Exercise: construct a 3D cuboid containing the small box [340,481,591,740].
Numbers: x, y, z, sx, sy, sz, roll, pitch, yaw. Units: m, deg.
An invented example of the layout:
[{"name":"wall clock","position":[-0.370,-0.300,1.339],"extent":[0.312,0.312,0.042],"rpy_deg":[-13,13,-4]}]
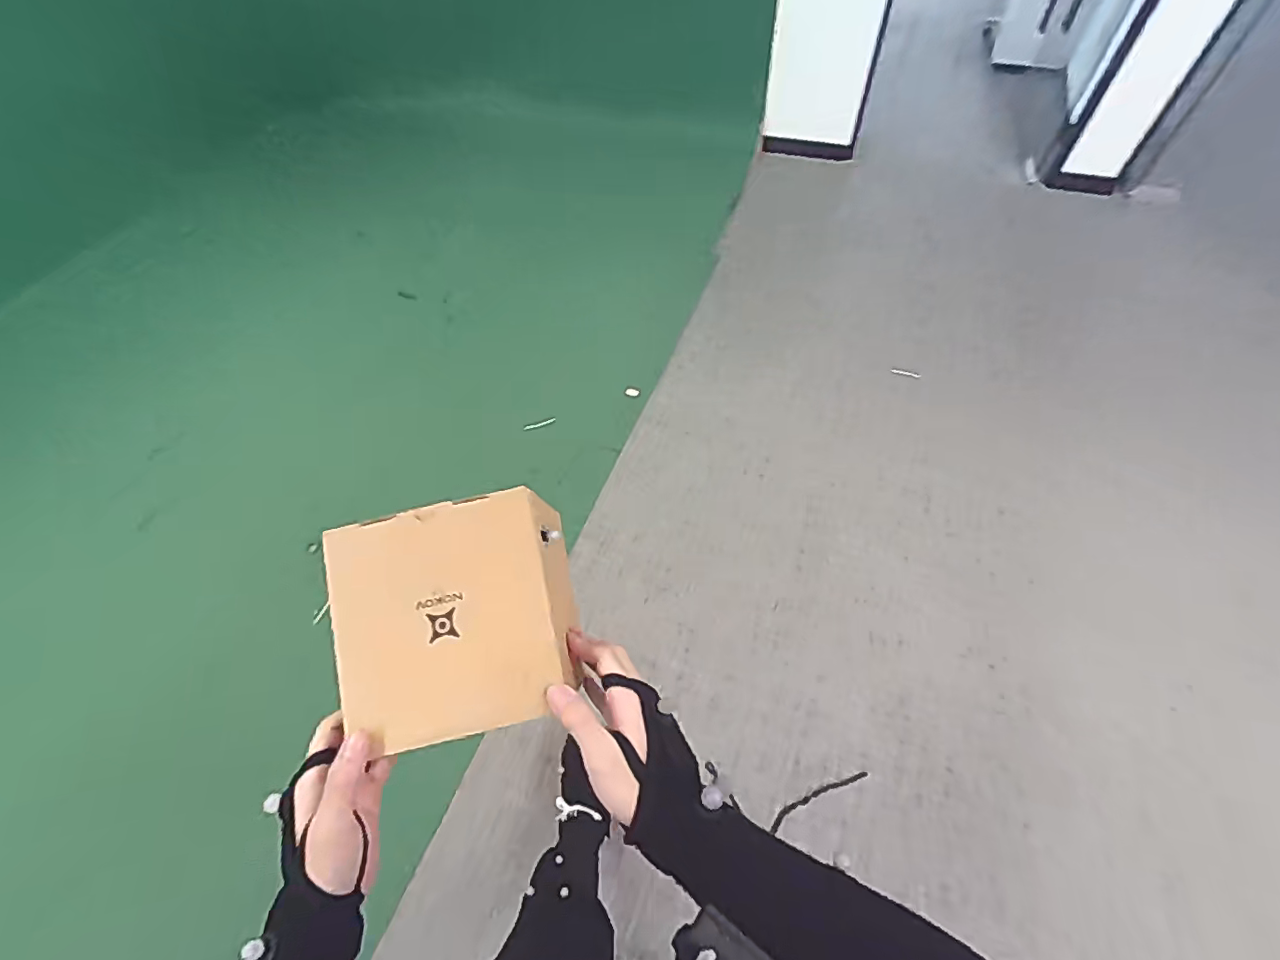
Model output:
[{"name":"small box","position":[-0.146,0.114,0.506],"extent":[0.168,0.176,0.179],"rpy_deg":[-13,79,-2]}]
